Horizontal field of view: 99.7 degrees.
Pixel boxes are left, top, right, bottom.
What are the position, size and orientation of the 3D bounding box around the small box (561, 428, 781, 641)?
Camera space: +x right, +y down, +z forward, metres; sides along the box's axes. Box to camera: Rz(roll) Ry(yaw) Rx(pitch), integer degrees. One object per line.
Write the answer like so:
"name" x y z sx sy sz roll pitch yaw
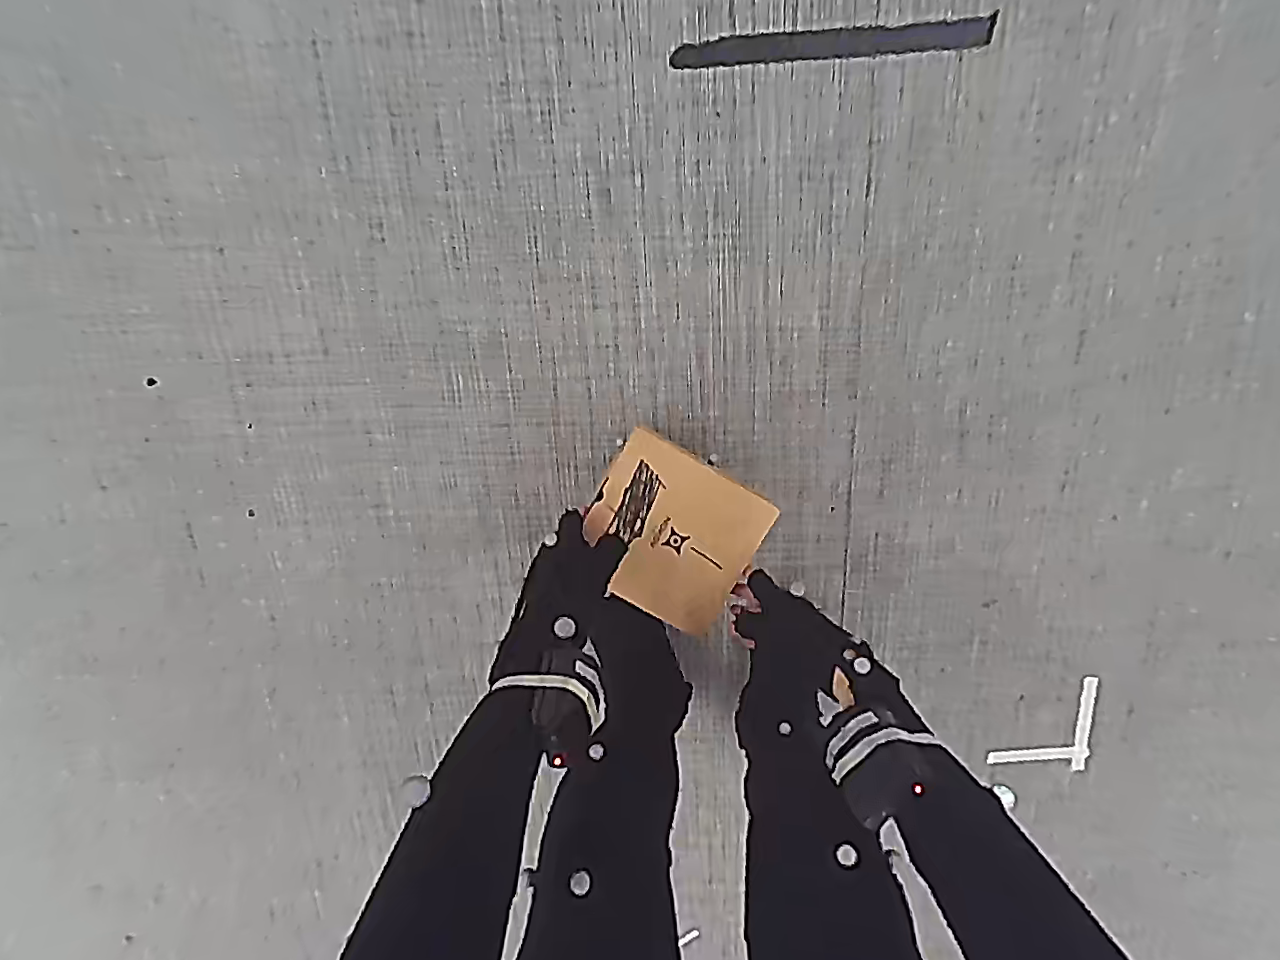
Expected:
"small box" 0.032 0.052 0.637 0.179 0.176 0.168 29 96 -2
